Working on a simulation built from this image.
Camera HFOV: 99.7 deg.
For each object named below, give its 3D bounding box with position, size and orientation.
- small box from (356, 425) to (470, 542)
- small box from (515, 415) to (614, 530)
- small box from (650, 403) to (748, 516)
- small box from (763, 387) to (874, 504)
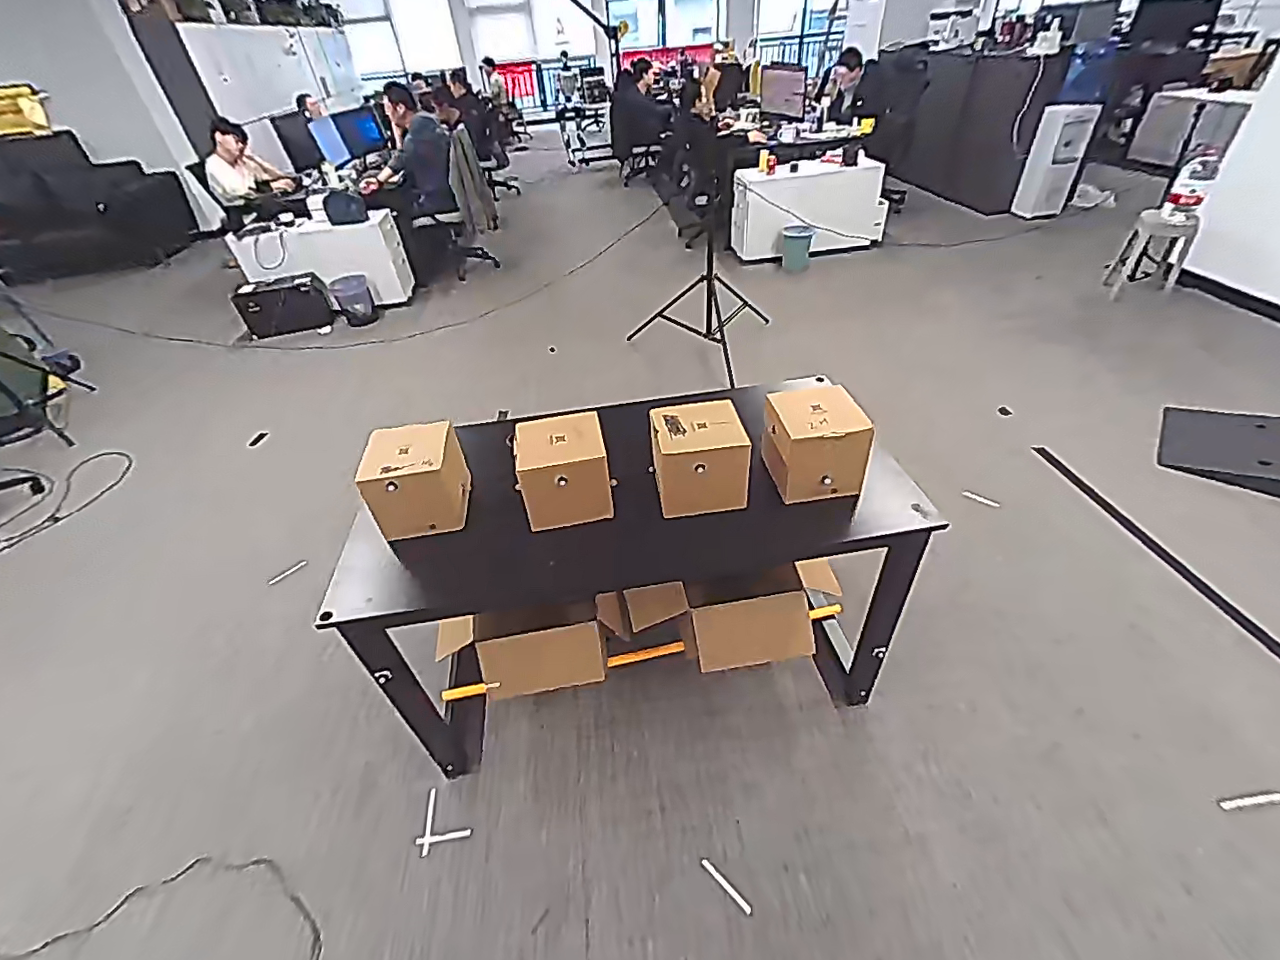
[{"bbox_3d":[-0.468,0.006,1.147,0.168,0.176,0.179,-9,39,-4],"label":"small box"},{"bbox_3d":[-0.157,-0.013,1.137,0.179,0.176,0.168,-10,41,-6],"label":"small box"},{"bbox_3d":[0.121,-0.039,1.131,0.179,0.176,0.168,-7,39,-2],"label":"small box"},{"bbox_3d":[0.364,-0.073,1.141,0.168,0.176,0.179,-8,39,-1],"label":"small box"}]
